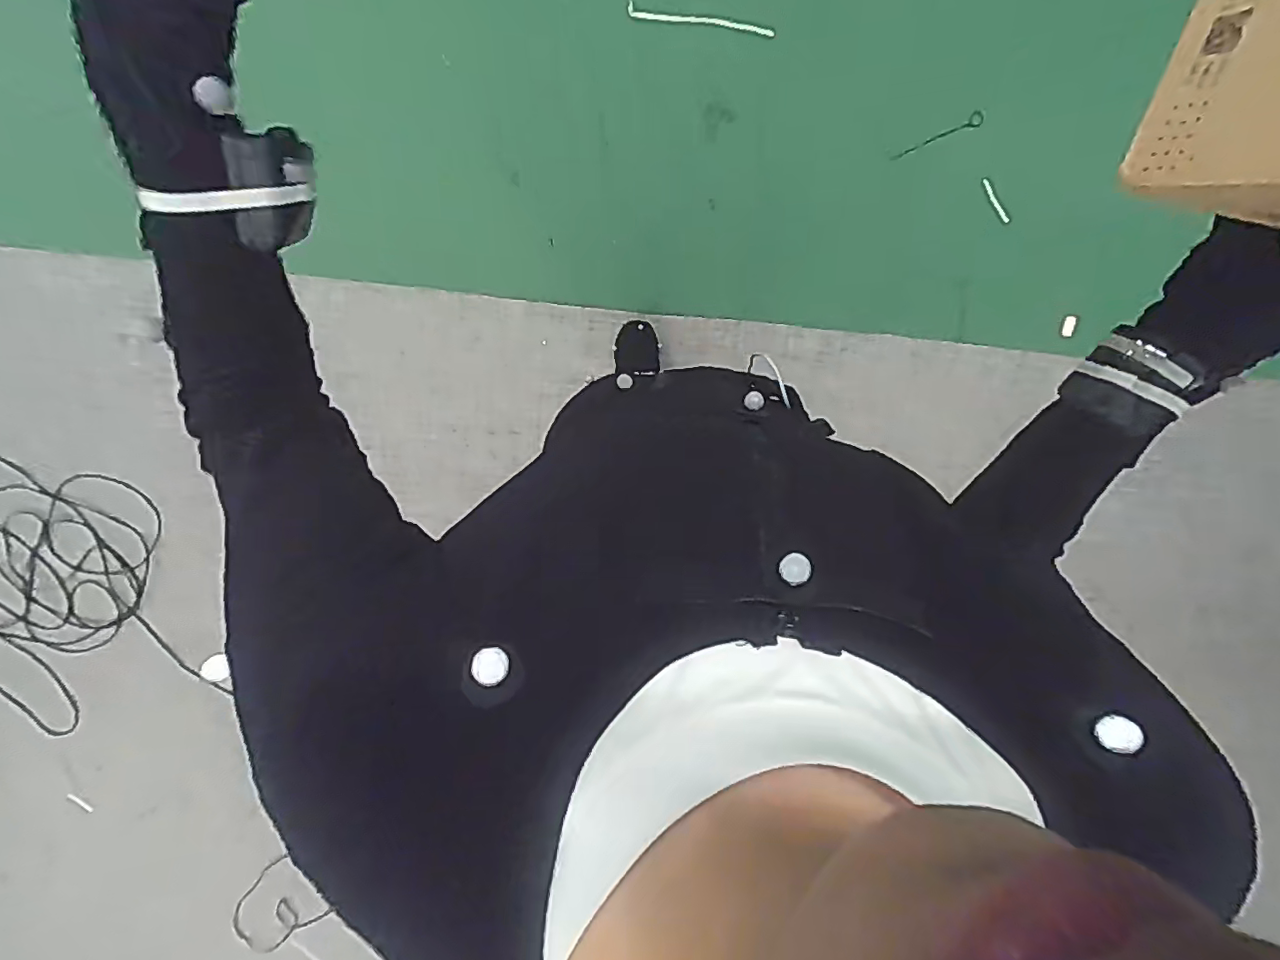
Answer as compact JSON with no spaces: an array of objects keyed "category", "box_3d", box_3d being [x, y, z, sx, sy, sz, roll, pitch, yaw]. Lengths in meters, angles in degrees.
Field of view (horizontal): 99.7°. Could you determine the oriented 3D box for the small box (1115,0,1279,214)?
[{"category":"small box","box_3d":[0.346,-0.189,0.192,0.179,0.176,0.168,2,117,-15]}]
